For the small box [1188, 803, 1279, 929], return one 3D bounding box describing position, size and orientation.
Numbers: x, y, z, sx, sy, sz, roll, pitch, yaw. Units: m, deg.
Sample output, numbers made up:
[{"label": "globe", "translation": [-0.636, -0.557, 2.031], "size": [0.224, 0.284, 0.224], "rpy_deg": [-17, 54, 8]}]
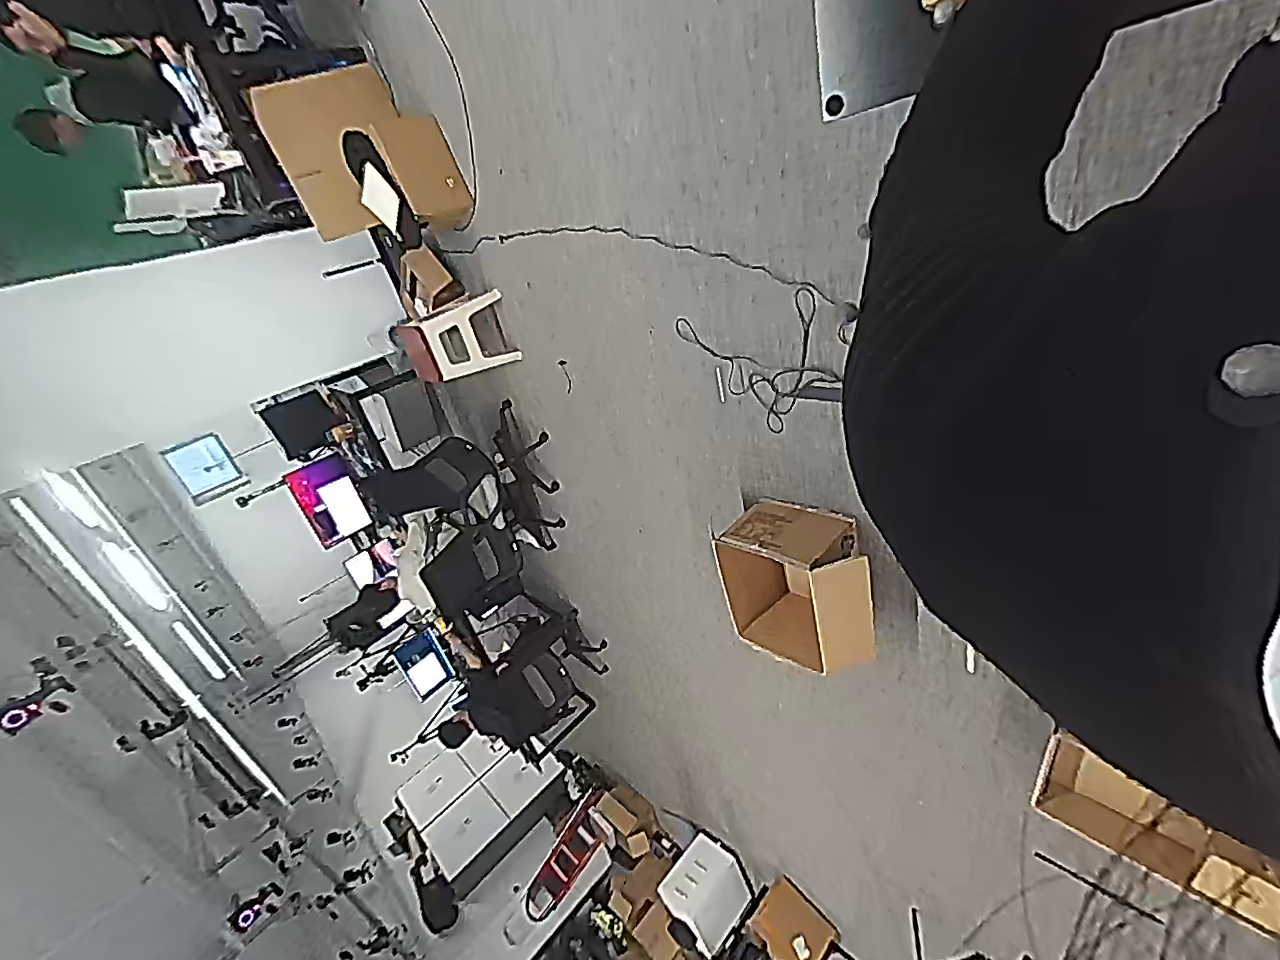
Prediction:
[{"label": "small box", "translation": [1.578, 0.990, 1.400], "size": [0.179, 0.176, 0.168], "rpy_deg": [20, 131, 43]}]
